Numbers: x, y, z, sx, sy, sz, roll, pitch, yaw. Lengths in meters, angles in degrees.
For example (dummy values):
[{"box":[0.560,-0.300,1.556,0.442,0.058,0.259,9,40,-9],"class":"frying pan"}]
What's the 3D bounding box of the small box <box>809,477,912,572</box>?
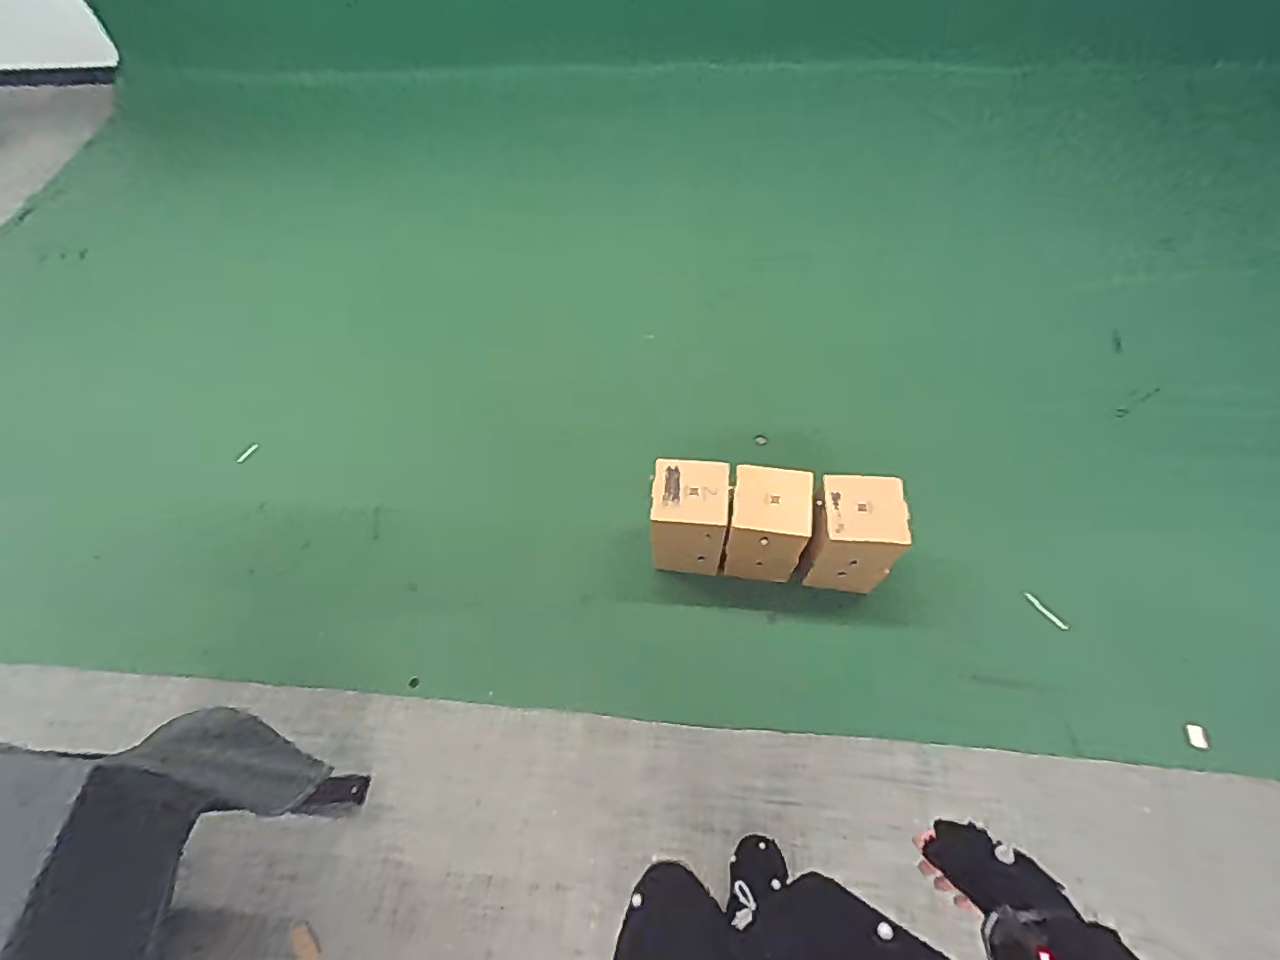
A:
[{"box":[0.511,0.109,1.276,0.179,0.176,0.168,4,61,4],"class":"small box"}]
